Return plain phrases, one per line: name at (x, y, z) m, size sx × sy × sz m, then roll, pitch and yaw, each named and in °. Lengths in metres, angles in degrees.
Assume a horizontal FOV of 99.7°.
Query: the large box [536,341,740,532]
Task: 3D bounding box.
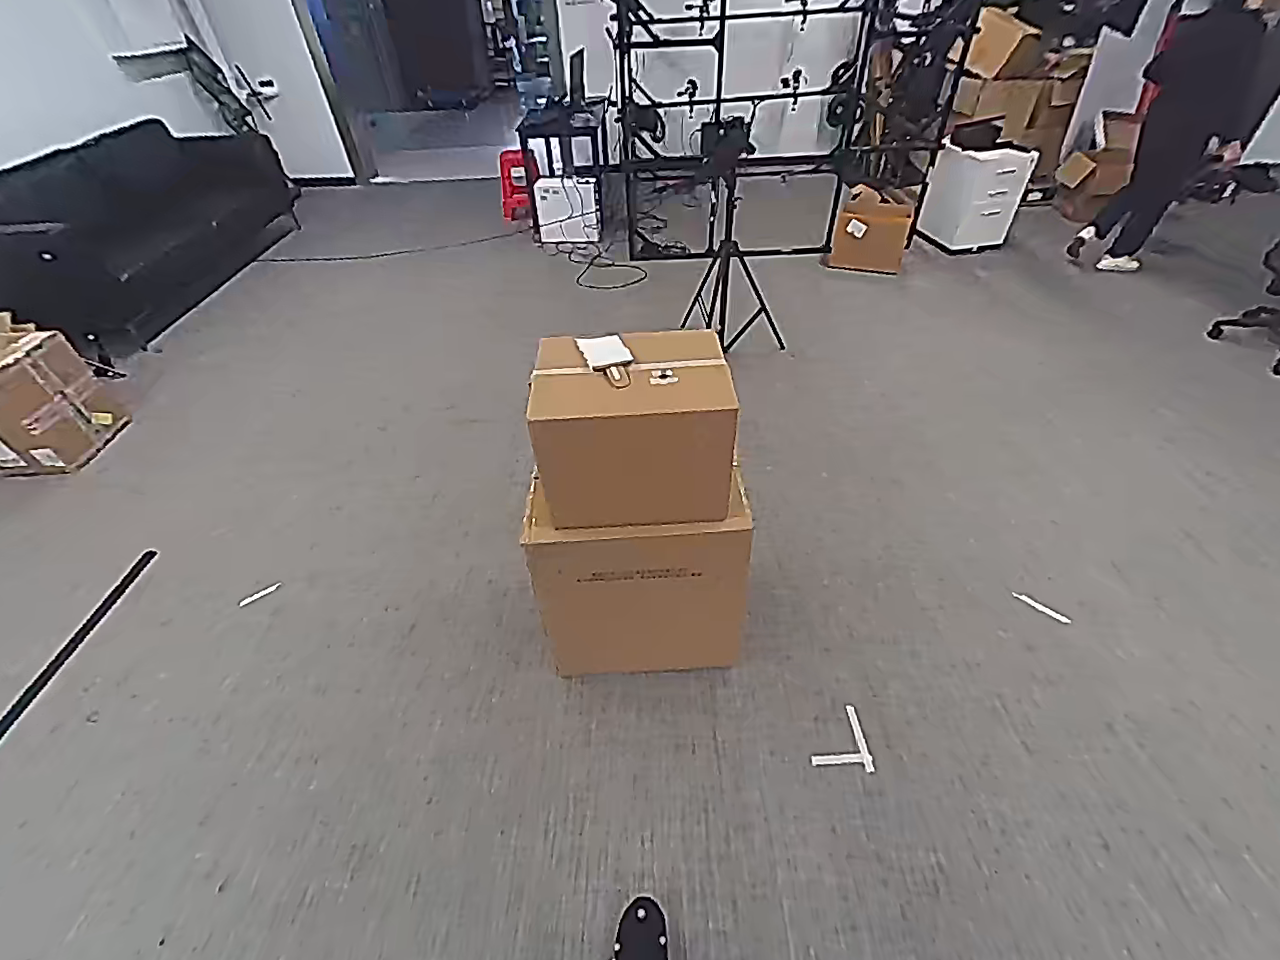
large box at (-0.010, -0.101, 1.245) m, size 0.408 × 0.320 × 0.320 m, roll -3°, pitch 43°, yaw -1°
